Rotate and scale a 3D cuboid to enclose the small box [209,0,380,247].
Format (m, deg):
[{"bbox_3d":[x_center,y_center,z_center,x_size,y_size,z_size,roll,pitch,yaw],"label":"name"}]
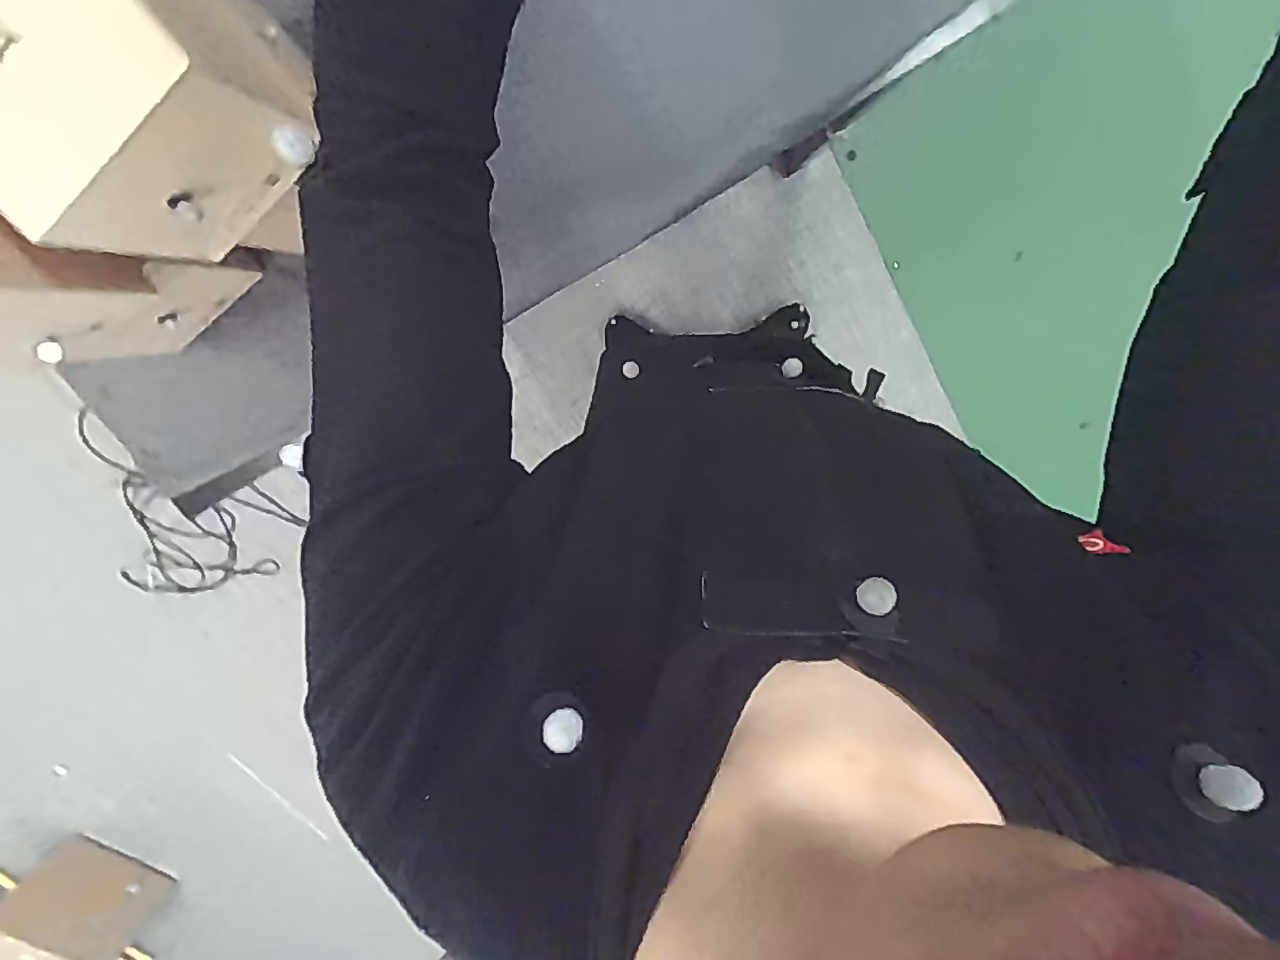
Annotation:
[{"bbox_3d":[-0.406,-0.358,0.545,0.168,0.176,0.179,-40,103,11],"label":"small box"}]

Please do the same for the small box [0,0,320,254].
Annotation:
[{"bbox_3d":[-0.388,-0.289,0.397,0.168,0.176,0.179,-38,103,10],"label":"small box"}]
